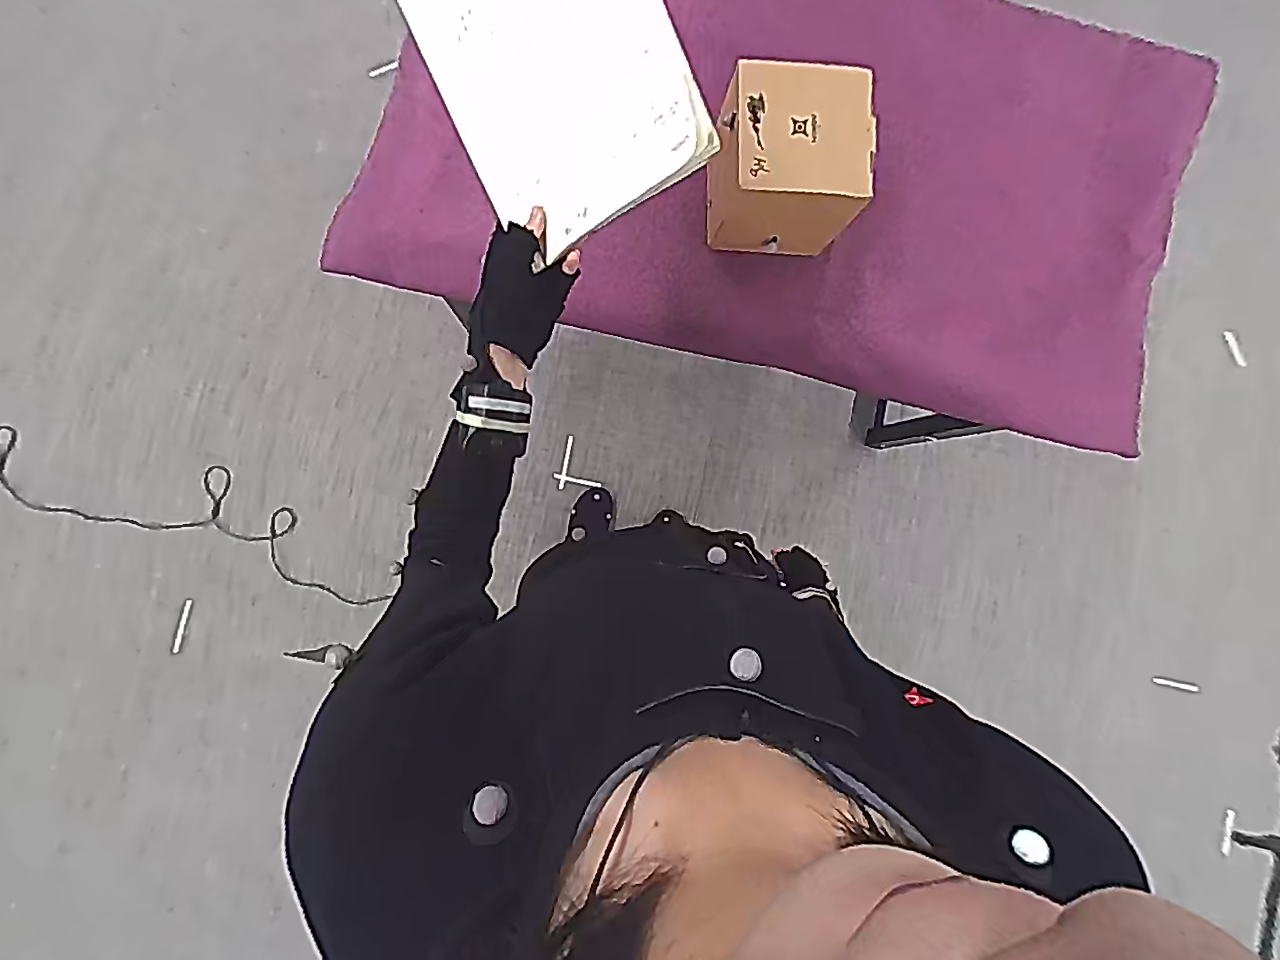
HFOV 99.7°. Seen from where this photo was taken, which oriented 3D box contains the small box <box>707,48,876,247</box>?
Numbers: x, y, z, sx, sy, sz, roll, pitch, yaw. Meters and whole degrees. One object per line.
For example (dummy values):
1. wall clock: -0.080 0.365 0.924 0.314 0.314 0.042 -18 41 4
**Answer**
1. small box: 0.198 -0.438 0.742 0.179 0.176 0.168 1 88 -6
